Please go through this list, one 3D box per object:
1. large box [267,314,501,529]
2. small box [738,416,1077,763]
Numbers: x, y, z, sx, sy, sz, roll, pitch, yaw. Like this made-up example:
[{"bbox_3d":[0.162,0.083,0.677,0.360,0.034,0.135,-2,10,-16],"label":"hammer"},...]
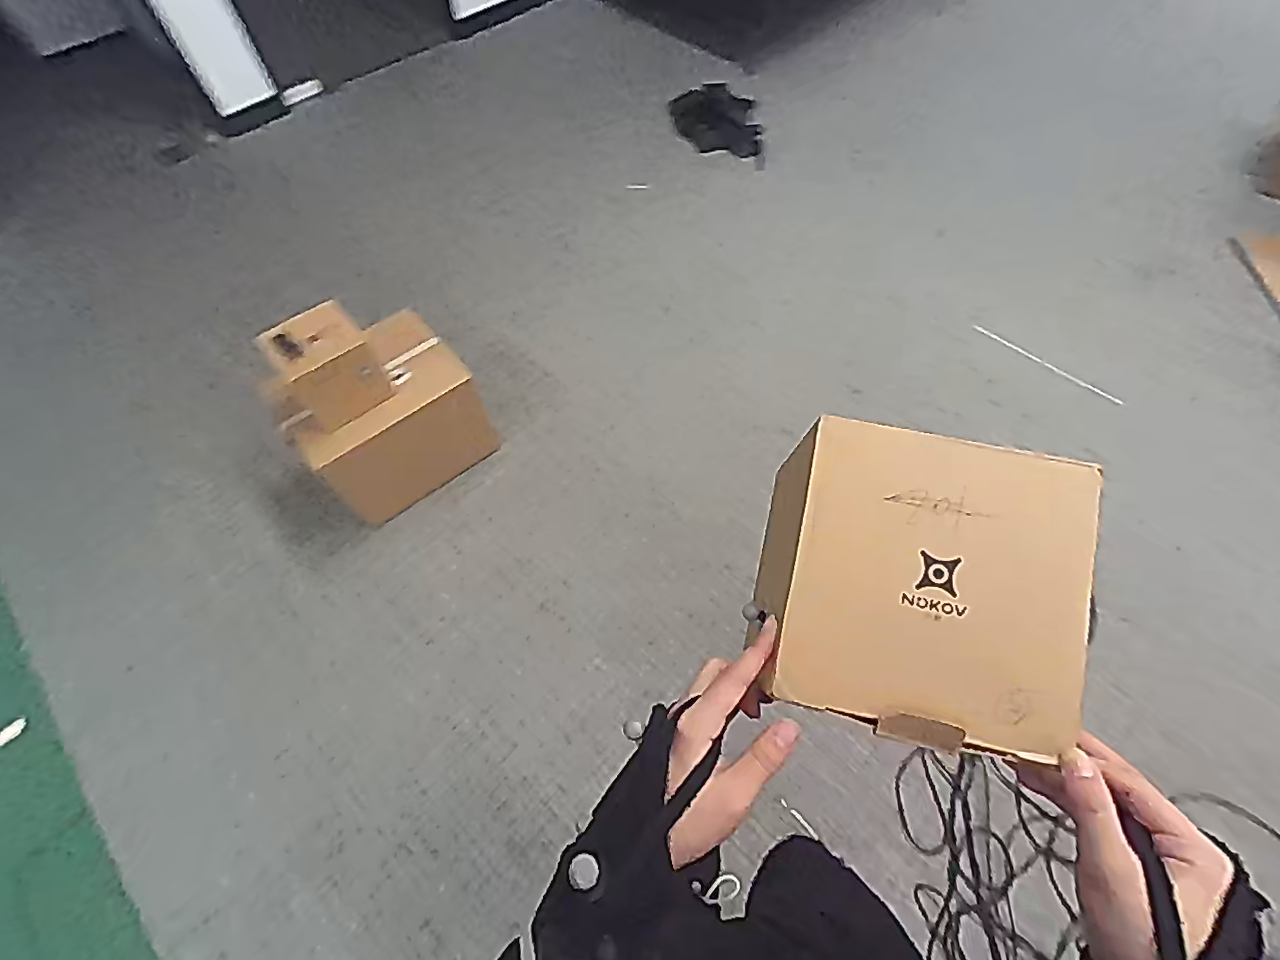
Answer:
[{"bbox_3d":[-0.639,-0.148,1.413,0.408,0.320,0.320,-37,67,-20],"label":"large box"},{"bbox_3d":[0.169,0.072,0.394,0.168,0.176,0.179,10,79,6],"label":"small box"}]
